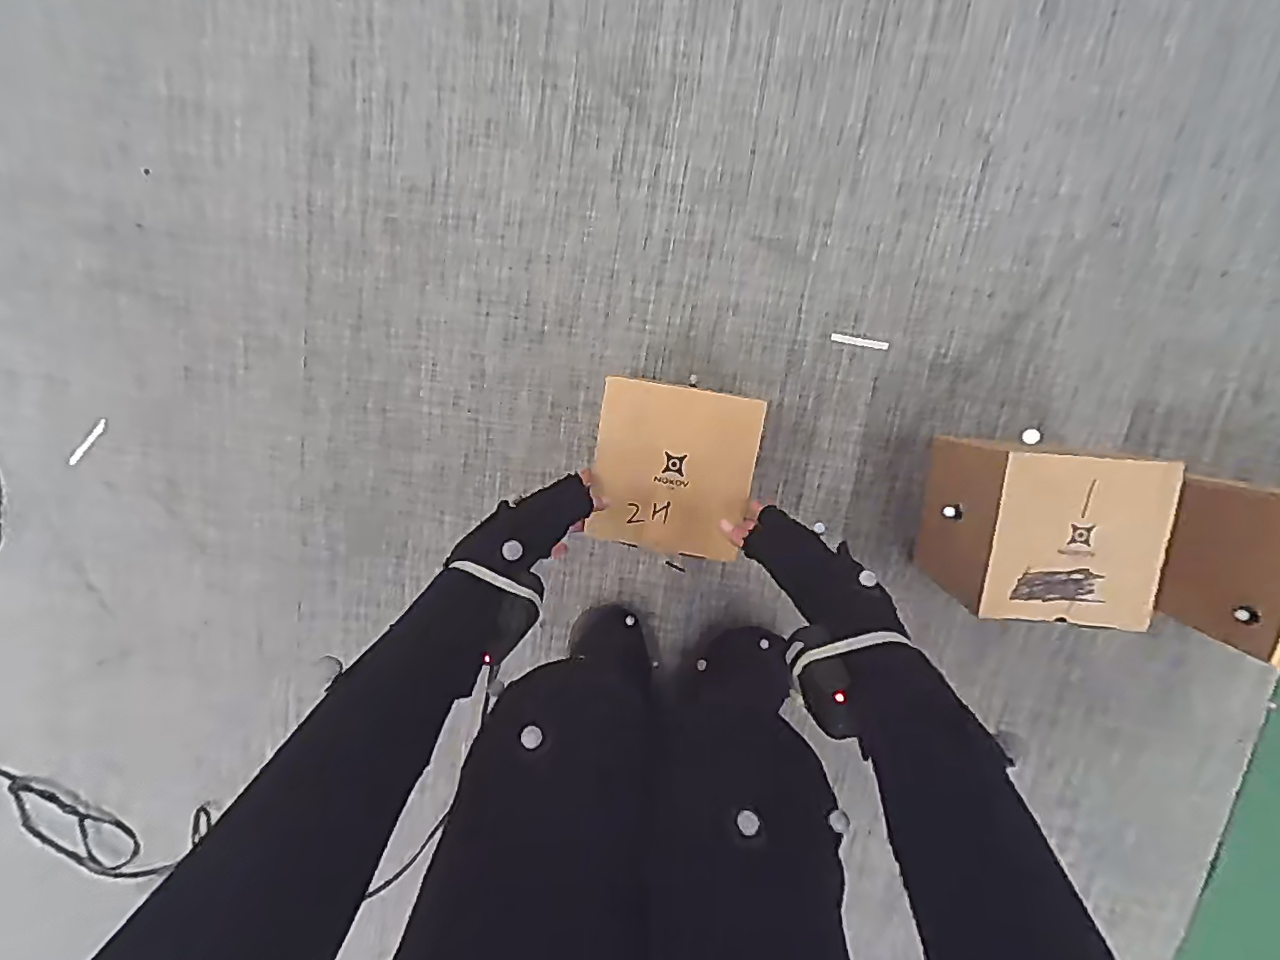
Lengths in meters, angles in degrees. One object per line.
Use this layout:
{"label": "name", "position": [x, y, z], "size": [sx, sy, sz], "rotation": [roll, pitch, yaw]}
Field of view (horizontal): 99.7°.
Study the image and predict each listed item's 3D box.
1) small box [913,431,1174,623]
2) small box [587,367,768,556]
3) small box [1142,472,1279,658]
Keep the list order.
{"label": "small box", "position": [0.439, 0.042, 0.623], "size": [0.168, 0.176, 0.179], "rotation": [5, 99, 4]}
{"label": "small box", "position": [0.043, -0.031, 0.641], "size": [0.168, 0.176, 0.179], "rotation": [10, 101, 4]}
{"label": "small box", "position": [0.726, 0.093, 0.609], "size": [0.168, 0.176, 0.179], "rotation": [9, 100, 4]}
